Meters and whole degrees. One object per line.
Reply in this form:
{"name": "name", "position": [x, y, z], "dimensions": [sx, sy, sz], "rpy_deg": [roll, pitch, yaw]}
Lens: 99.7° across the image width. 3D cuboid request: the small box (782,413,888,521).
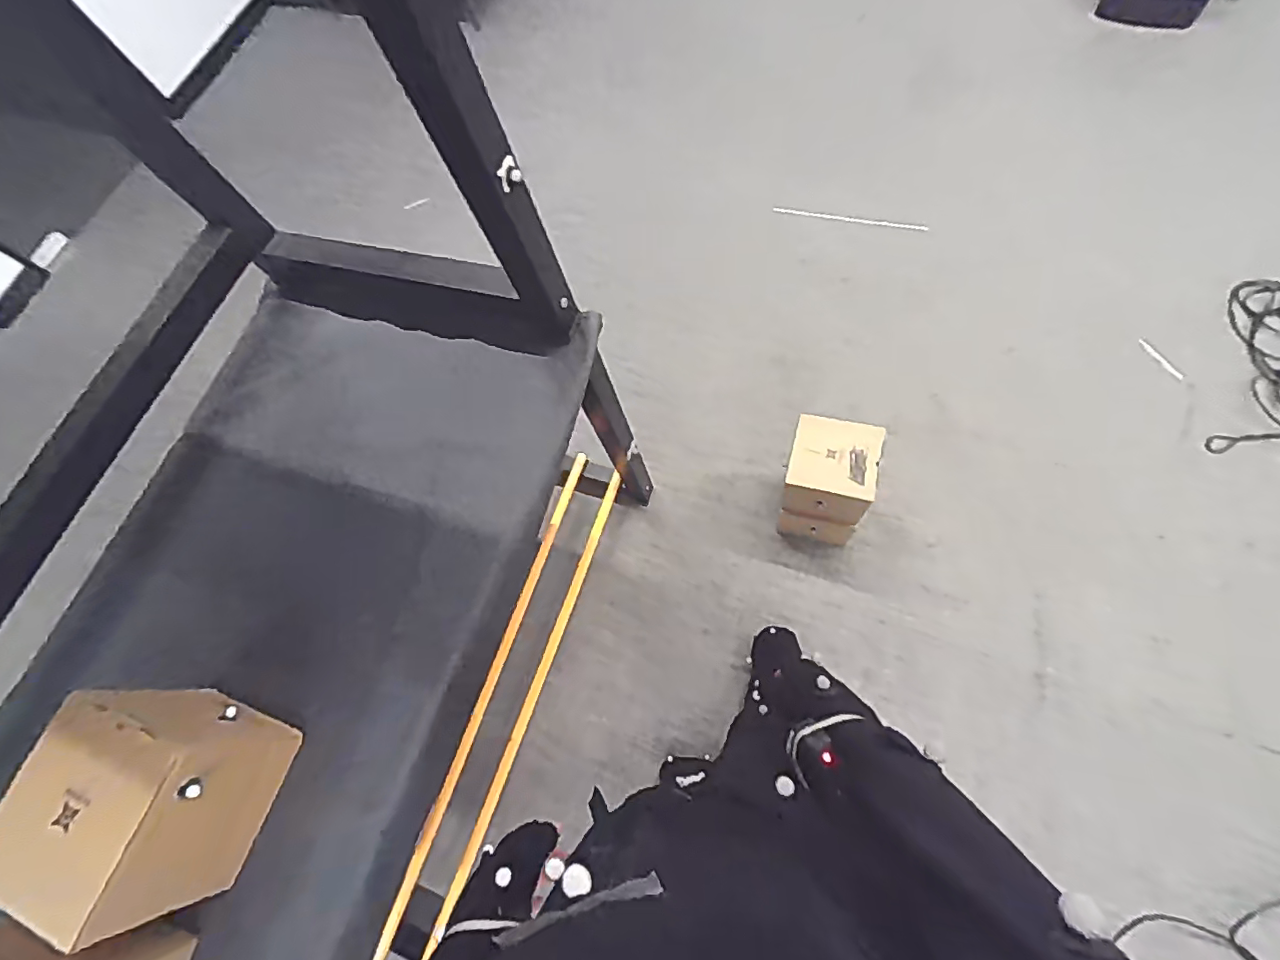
{"name": "small box", "position": [0.414, -0.021, 1.171], "dimensions": [0.179, 0.176, 0.168], "rpy_deg": [13, 72, 16]}
